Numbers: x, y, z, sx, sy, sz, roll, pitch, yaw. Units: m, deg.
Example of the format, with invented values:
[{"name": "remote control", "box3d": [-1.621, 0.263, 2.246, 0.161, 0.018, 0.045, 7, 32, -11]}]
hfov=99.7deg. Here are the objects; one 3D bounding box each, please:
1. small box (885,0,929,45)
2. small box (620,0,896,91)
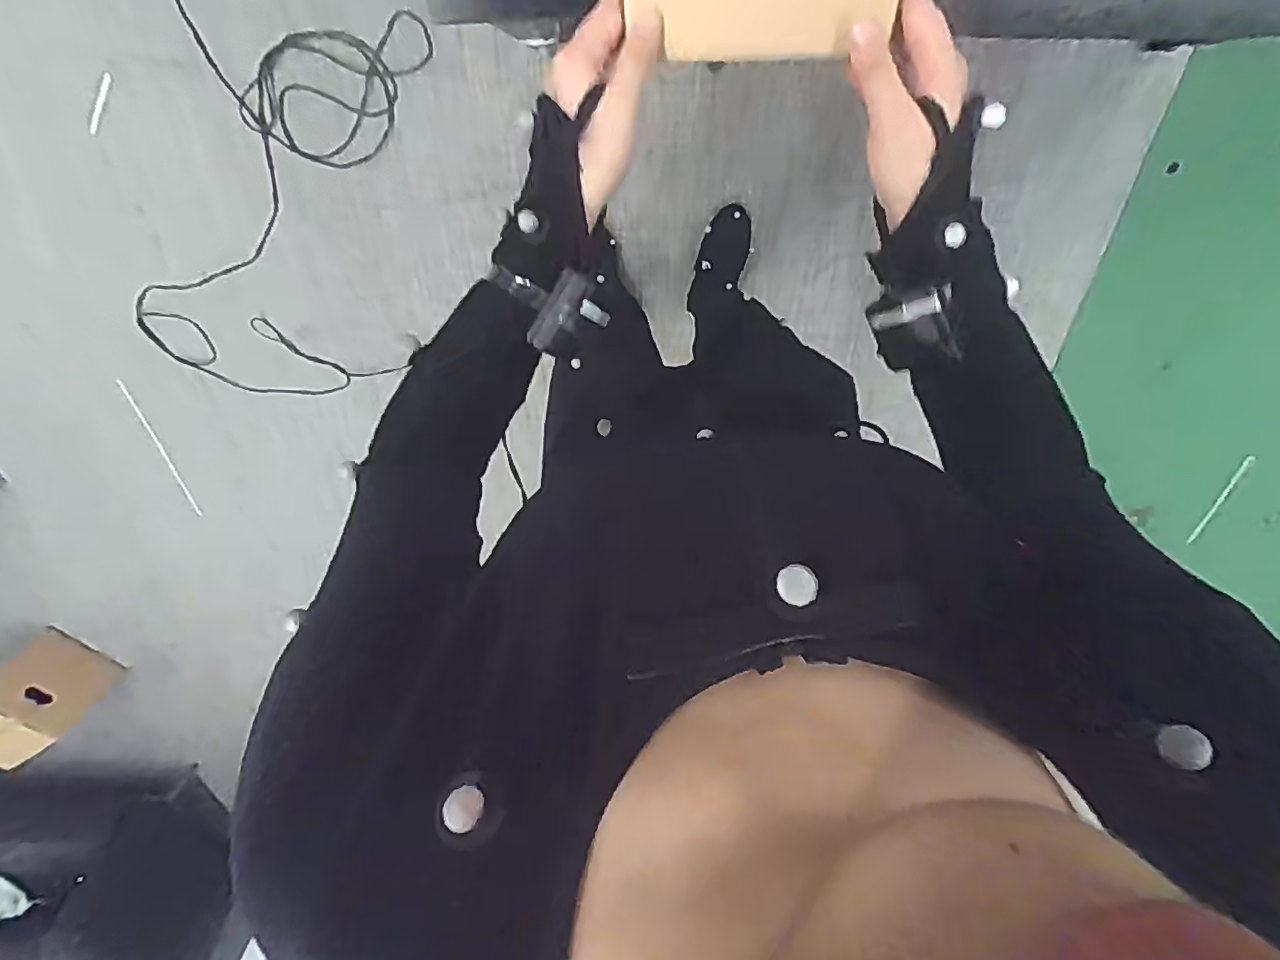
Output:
[{"name": "small box", "box3d": [0.396, -0.867, 0.937, 0.168, 0.176, 0.179, -2, 122, 3]}, {"name": "small box", "box3d": [0.076, -0.372, 0.348, 0.168, 0.176, 0.179, 2, 133, 4]}]
